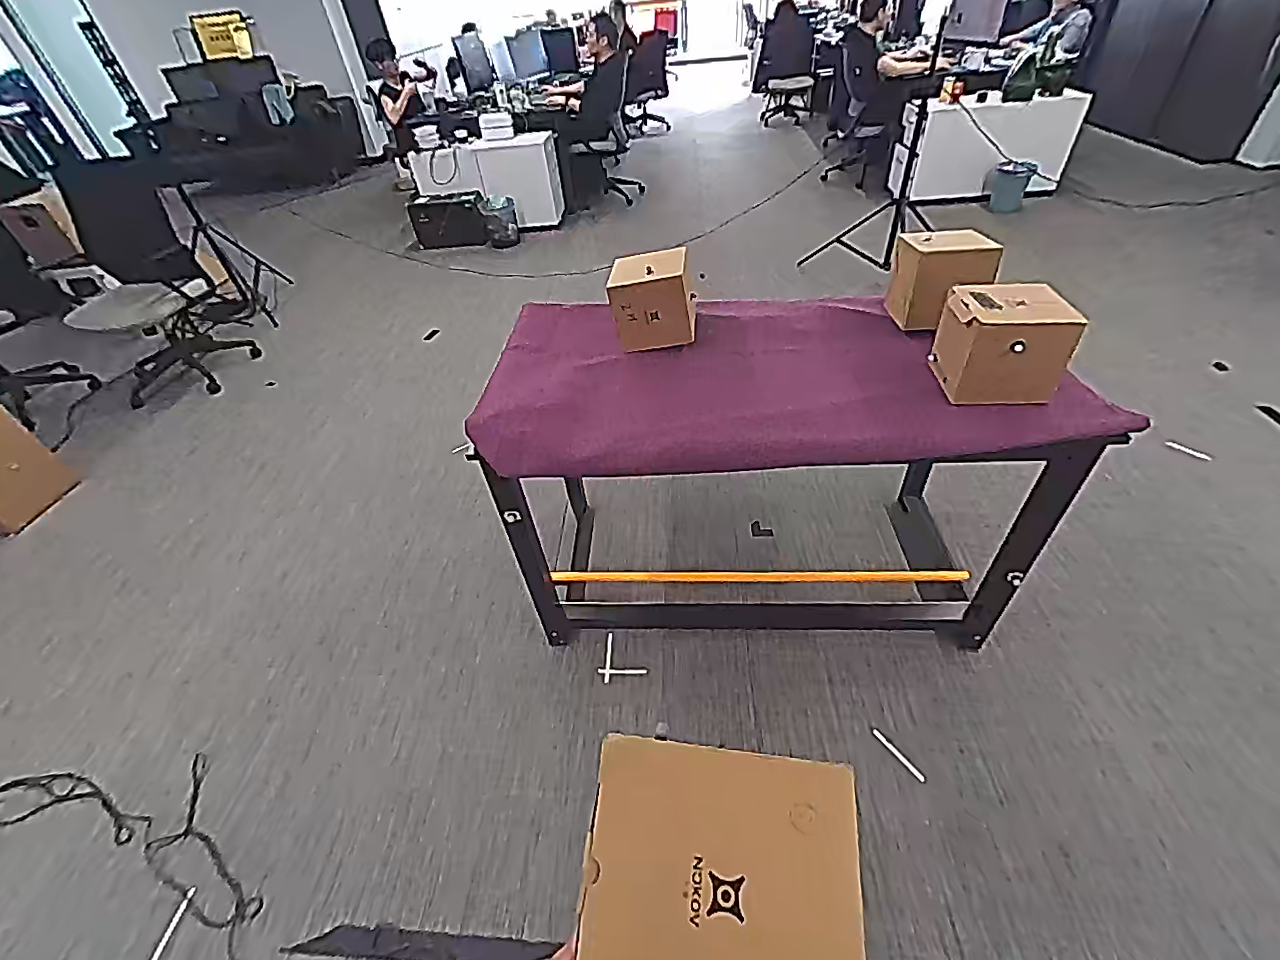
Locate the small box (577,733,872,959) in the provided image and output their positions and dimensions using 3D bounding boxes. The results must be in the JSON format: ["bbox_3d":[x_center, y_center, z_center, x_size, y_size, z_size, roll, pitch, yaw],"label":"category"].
[{"bbox_3d":[0.060,0.296,0.405,0.179,0.176,0.168,3,60,9],"label":"small box"}]

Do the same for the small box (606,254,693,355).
[{"bbox_3d":[0.031,-0.420,1.287,0.179,0.168,0.176,-5,41,13],"label":"small box"}]

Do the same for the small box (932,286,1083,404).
[{"bbox_3d":[0.686,-0.258,1.041,0.179,0.176,0.168,0,41,7],"label":"small box"}]
